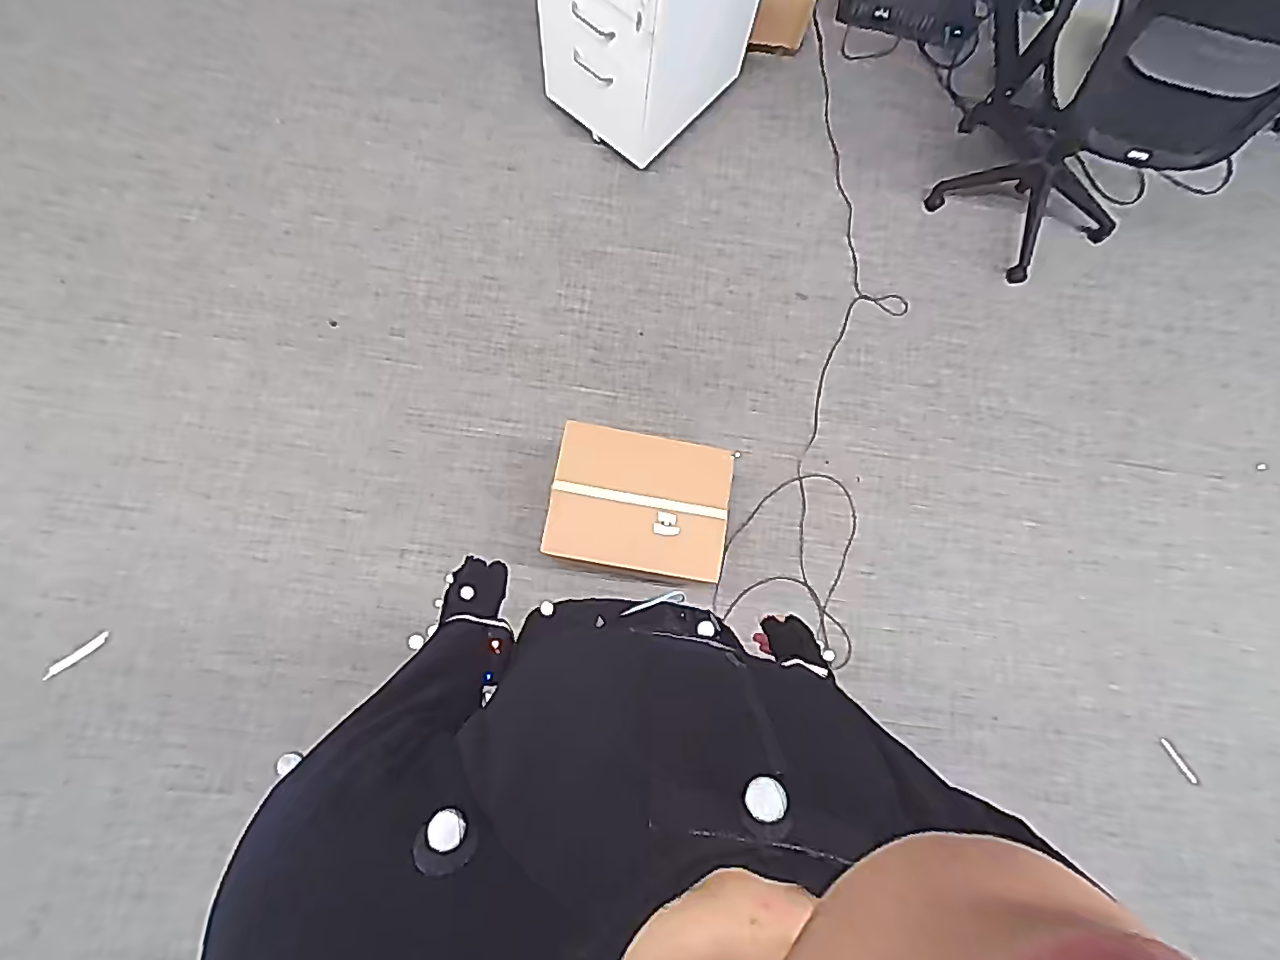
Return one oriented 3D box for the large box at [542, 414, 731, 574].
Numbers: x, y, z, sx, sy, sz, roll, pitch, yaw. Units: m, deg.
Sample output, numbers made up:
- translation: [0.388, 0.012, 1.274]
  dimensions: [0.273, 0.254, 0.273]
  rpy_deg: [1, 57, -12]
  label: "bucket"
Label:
- translation: [-0.018, 0.053, 1.383]
  dimensions: [0.408, 0.320, 0.320]
  rpy_deg: [11, 79, -4]
  label: "large box"
